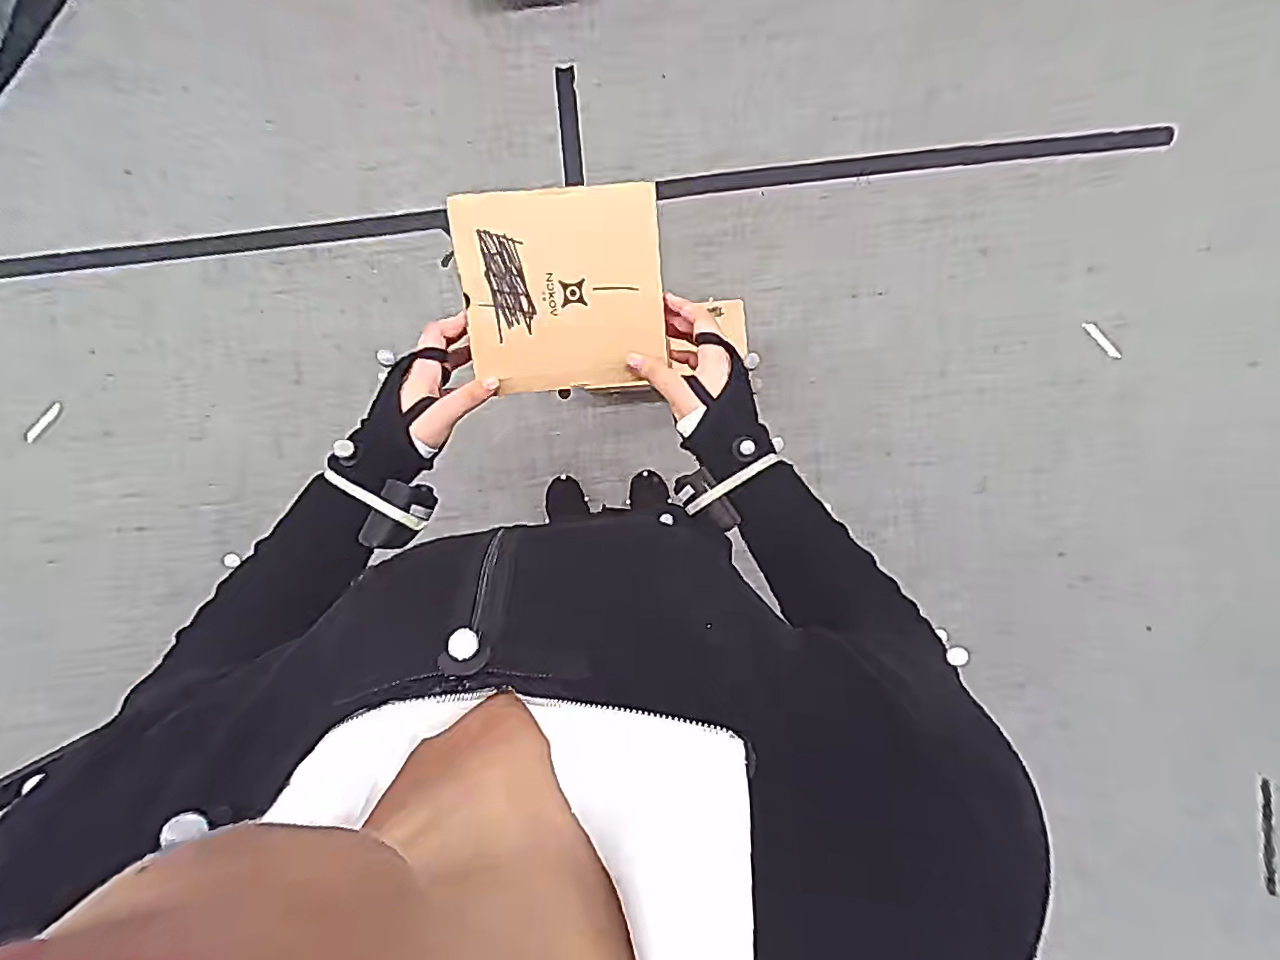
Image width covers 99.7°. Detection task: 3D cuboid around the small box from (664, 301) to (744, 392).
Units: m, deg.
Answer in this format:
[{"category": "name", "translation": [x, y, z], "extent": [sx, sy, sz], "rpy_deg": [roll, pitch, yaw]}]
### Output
[{"category": "small box", "translation": [0.139, -0.297, 1.238], "extent": [0.168, 0.176, 0.179], "rpy_deg": [-5, 95, 0]}]

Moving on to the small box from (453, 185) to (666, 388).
[{"category": "small box", "translation": [-0.071, -0.186, 0.550], "extent": [0.179, 0.176, 0.168], "rpy_deg": [-5, 106, -4]}]
